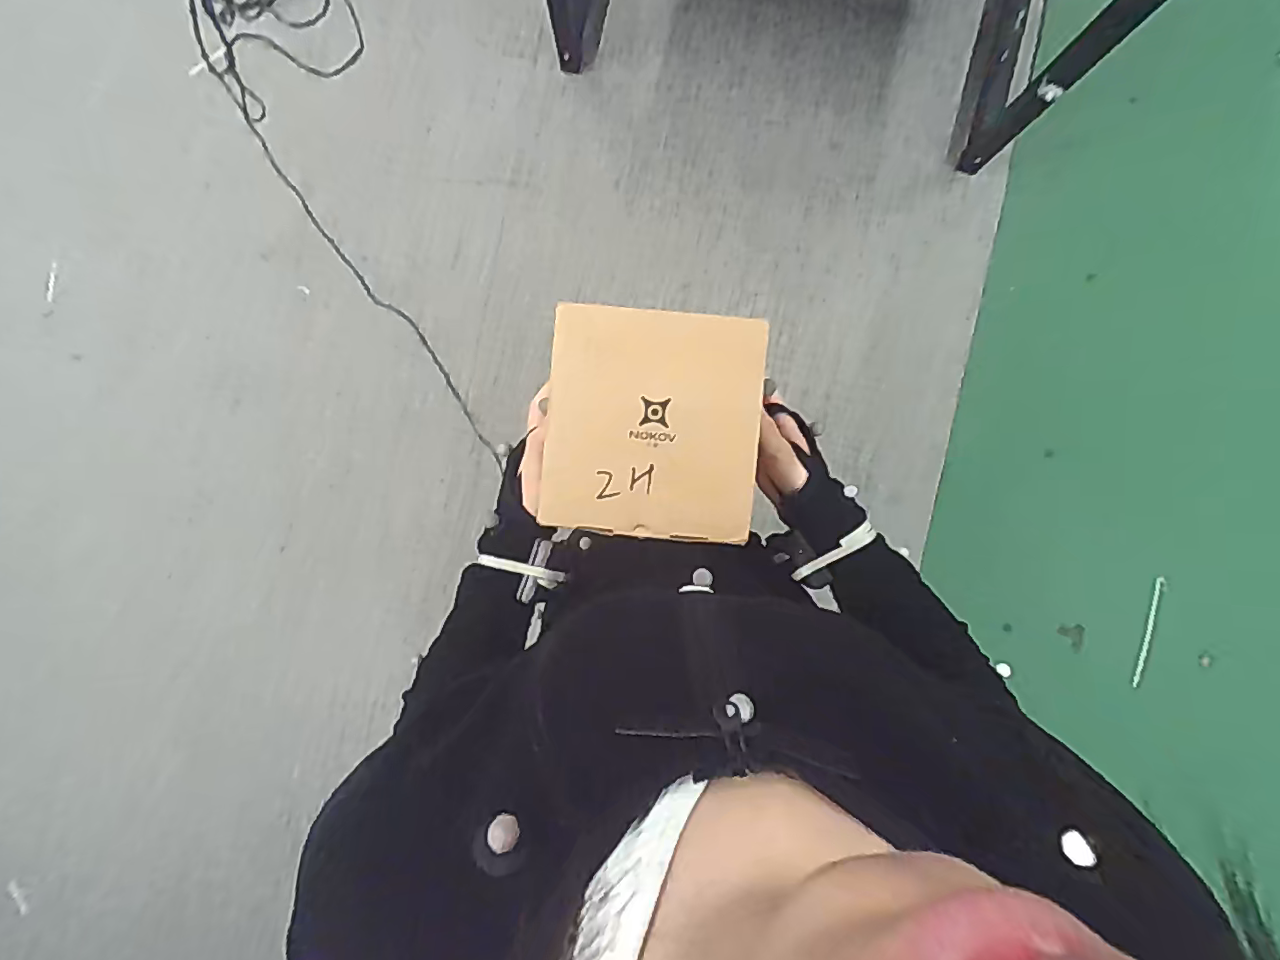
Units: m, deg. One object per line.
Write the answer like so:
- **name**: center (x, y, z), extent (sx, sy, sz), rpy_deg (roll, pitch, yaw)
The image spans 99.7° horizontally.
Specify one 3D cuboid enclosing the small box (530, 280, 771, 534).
- **small box**: center (0.009, -0.053, 0.477), extent (0.168, 0.176, 0.179), rpy_deg (5, 90, 2)
